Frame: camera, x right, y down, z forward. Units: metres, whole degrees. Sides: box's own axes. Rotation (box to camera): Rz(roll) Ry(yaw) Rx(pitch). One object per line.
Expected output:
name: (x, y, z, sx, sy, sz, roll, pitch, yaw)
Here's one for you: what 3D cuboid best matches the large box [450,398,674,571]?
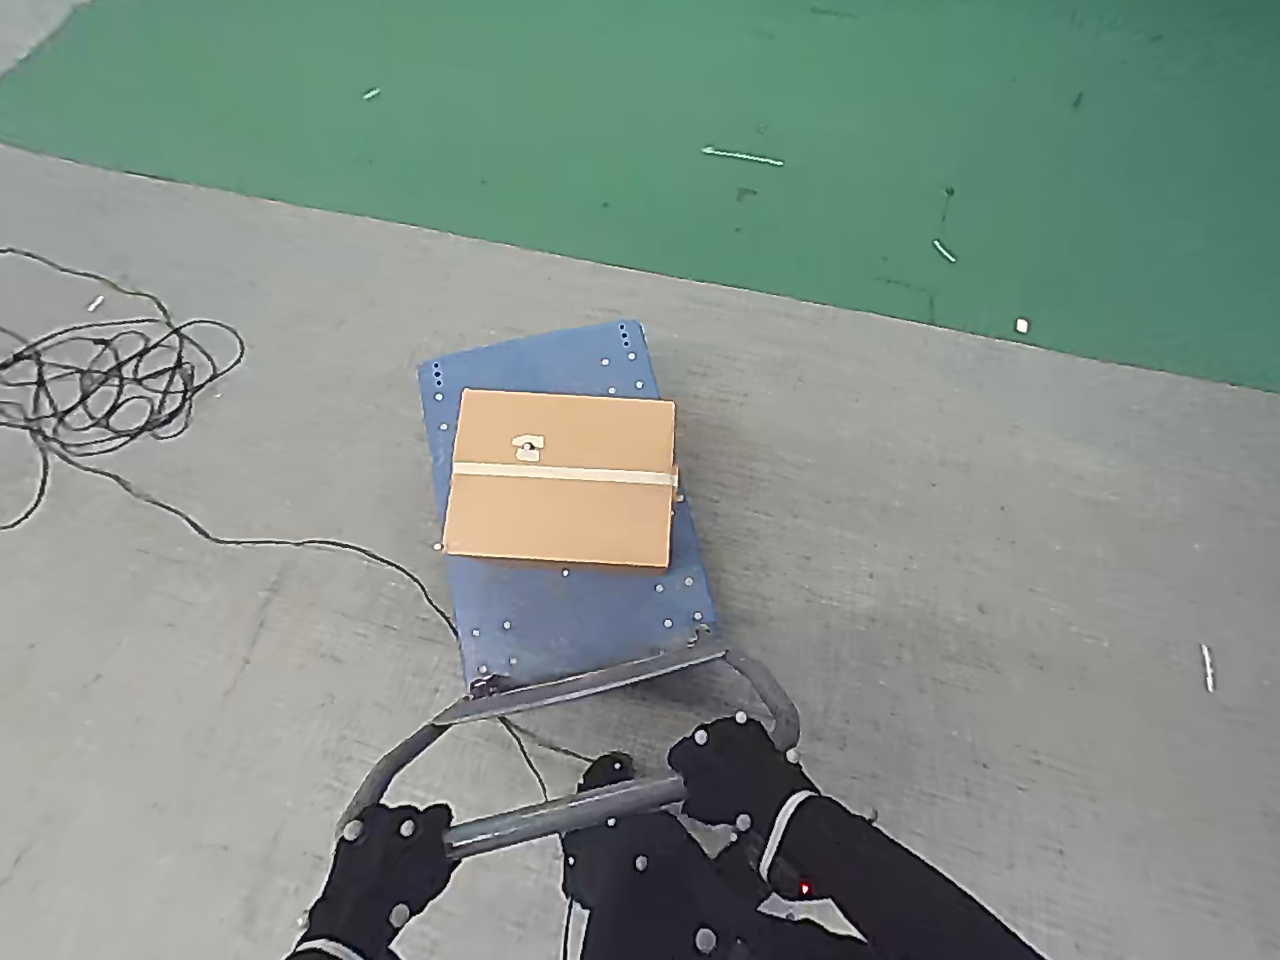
large box: (-0.133, 0.028, 1.133, 0.408, 0.320, 0.320, 2, 77, 1)
